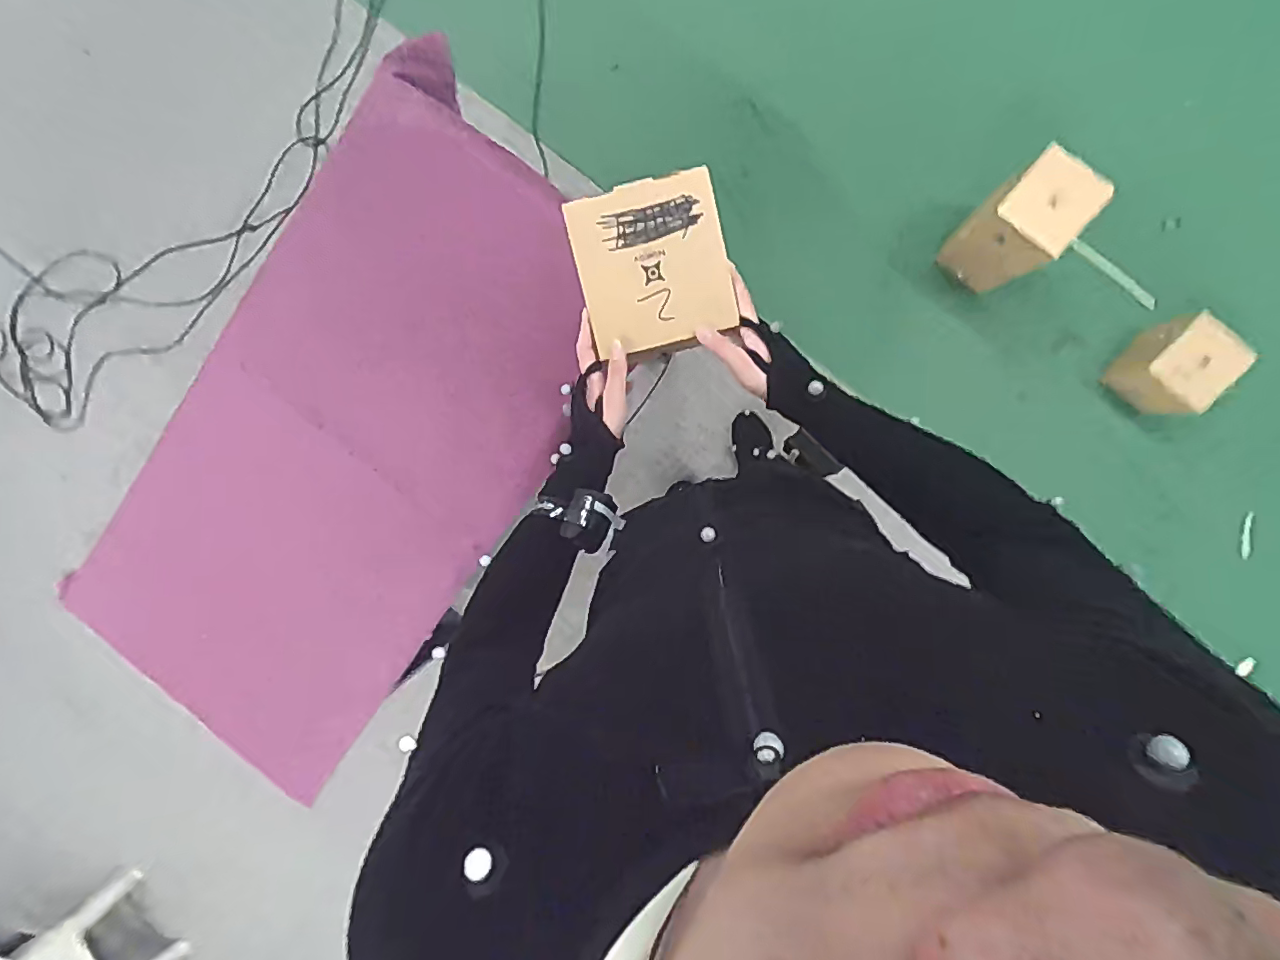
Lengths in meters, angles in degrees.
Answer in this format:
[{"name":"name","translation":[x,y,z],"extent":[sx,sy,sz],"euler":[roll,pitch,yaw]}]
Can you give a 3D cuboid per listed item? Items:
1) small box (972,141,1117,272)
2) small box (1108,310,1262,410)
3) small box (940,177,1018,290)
[{"name":"small box","translation":[0.900,-0.609,1.231],"extent":[0.168,0.176,0.179],"euler":[39,98,3]},{"name":"small box","translation":[1.357,-0.294,1.363],"extent":[0.168,0.176,0.179],"euler":[41,99,2]},{"name":"small box","translation":[0.919,-0.624,1.391],"extent":[0.168,0.176,0.179],"euler":[39,99,3]}]
